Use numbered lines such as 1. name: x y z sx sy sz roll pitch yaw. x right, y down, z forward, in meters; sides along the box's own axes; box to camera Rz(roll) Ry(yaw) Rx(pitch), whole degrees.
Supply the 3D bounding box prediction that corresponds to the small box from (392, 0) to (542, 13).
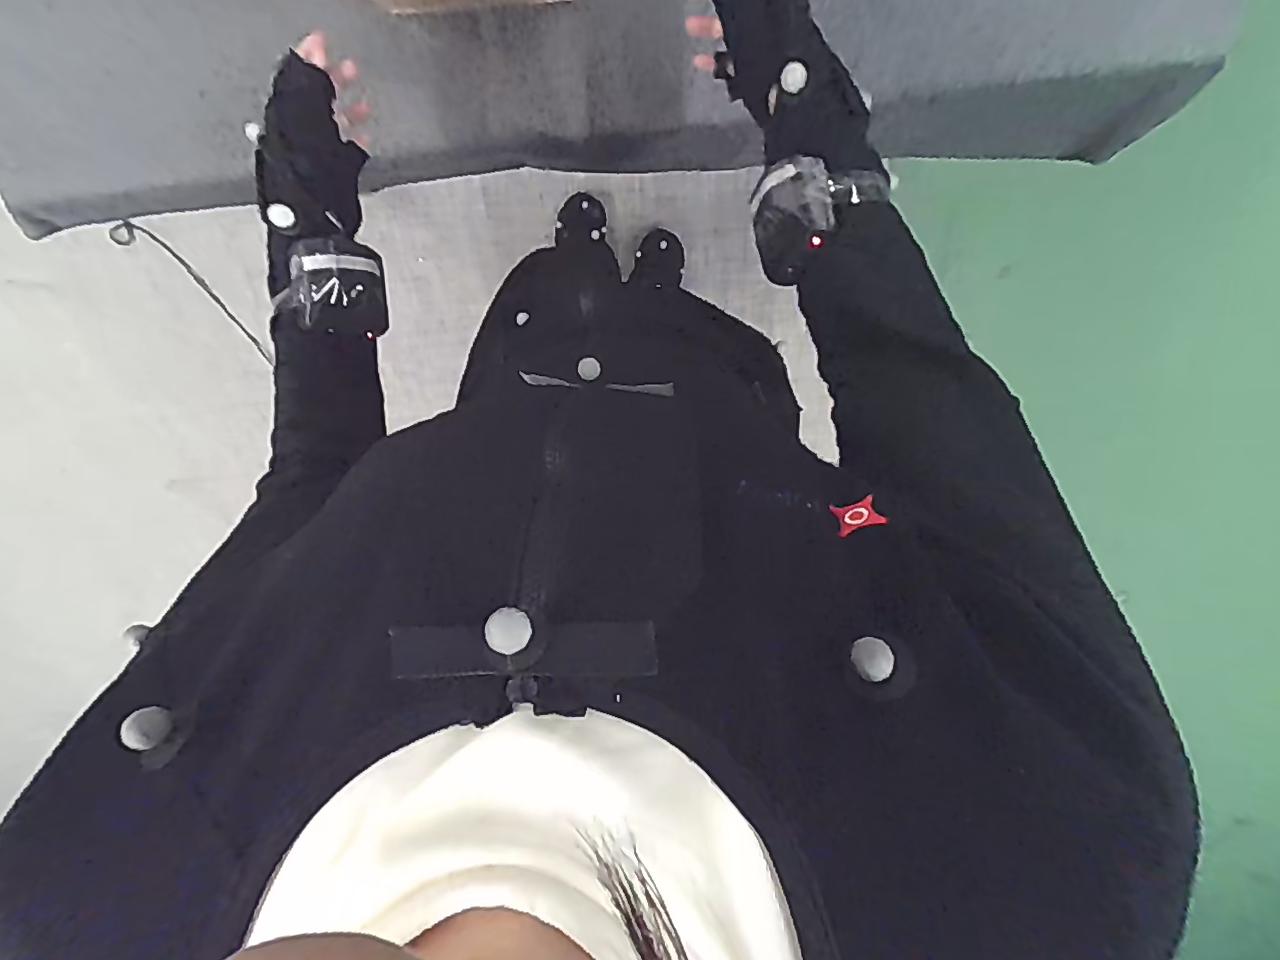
1. small box: -0.145 -0.468 0.387 0.179 0.176 0.168 -4 118 3
